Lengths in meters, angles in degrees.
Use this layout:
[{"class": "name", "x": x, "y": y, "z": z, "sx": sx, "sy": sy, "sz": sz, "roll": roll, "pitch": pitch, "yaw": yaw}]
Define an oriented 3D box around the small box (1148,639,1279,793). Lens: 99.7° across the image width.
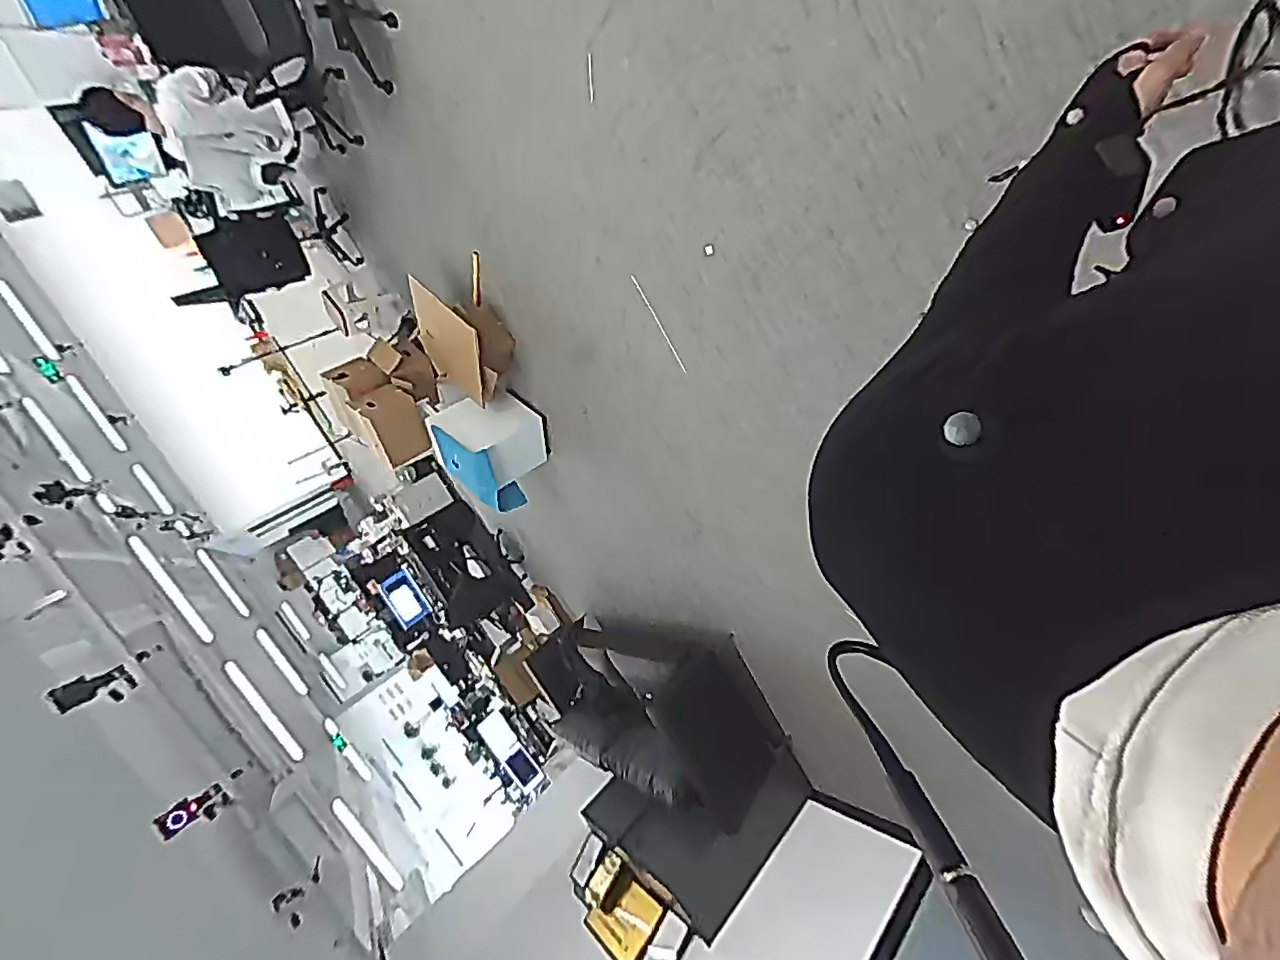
[{"class": "small box", "x": 1.099, "y": 0.433, "z": 1.017, "sx": 0.168, "sy": 0.176, "sz": 0.179, "roll": -5, "pitch": 114, "yaw": 55}]
